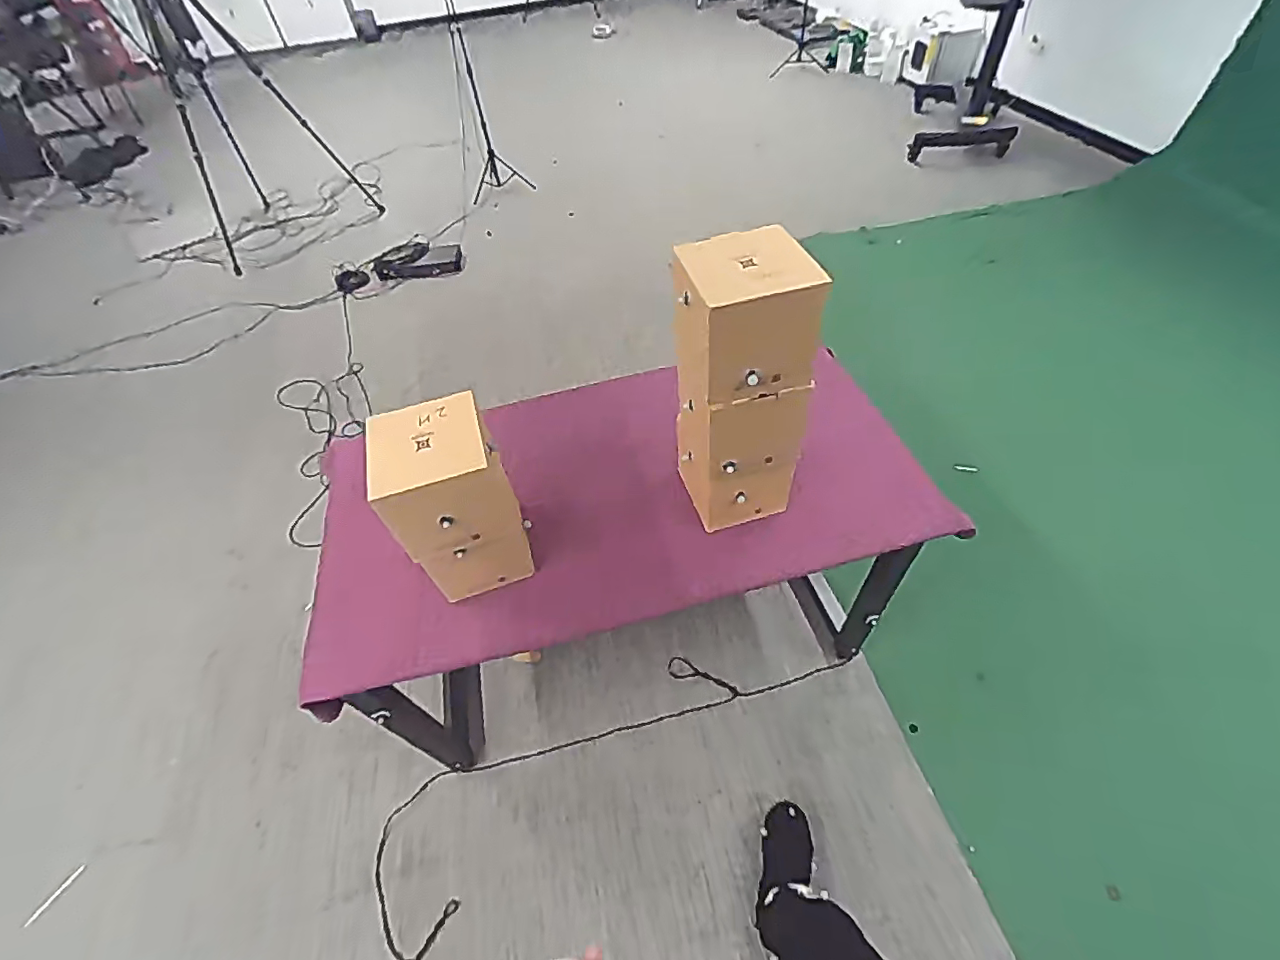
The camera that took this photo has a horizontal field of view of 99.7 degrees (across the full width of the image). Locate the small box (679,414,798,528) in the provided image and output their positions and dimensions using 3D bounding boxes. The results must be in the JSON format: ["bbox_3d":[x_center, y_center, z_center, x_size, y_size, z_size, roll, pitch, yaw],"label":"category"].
[{"bbox_3d":[0.180,-0.027,1.029,0.168,0.176,0.179,-15,49,-6],"label":"small box"}]

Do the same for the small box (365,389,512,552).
[{"bbox_3d":[-0.307,-0.008,0.840,0.168,0.176,0.179,-16,51,-9],"label":"small box"}]

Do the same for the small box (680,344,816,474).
[{"bbox_3d":[0.171,-0.128,0.899,0.168,0.176,0.179,-13,48,-5],"label":"small box"}]

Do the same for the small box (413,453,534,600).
[{"bbox_3d":[-0.302,0.085,0.978,0.168,0.176,0.179,-18,51,-9],"label":"small box"}]

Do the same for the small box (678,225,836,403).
[{"bbox_3d":[0.154,-0.238,0.778,0.168,0.176,0.179,-13,50,-4],"label":"small box"}]
